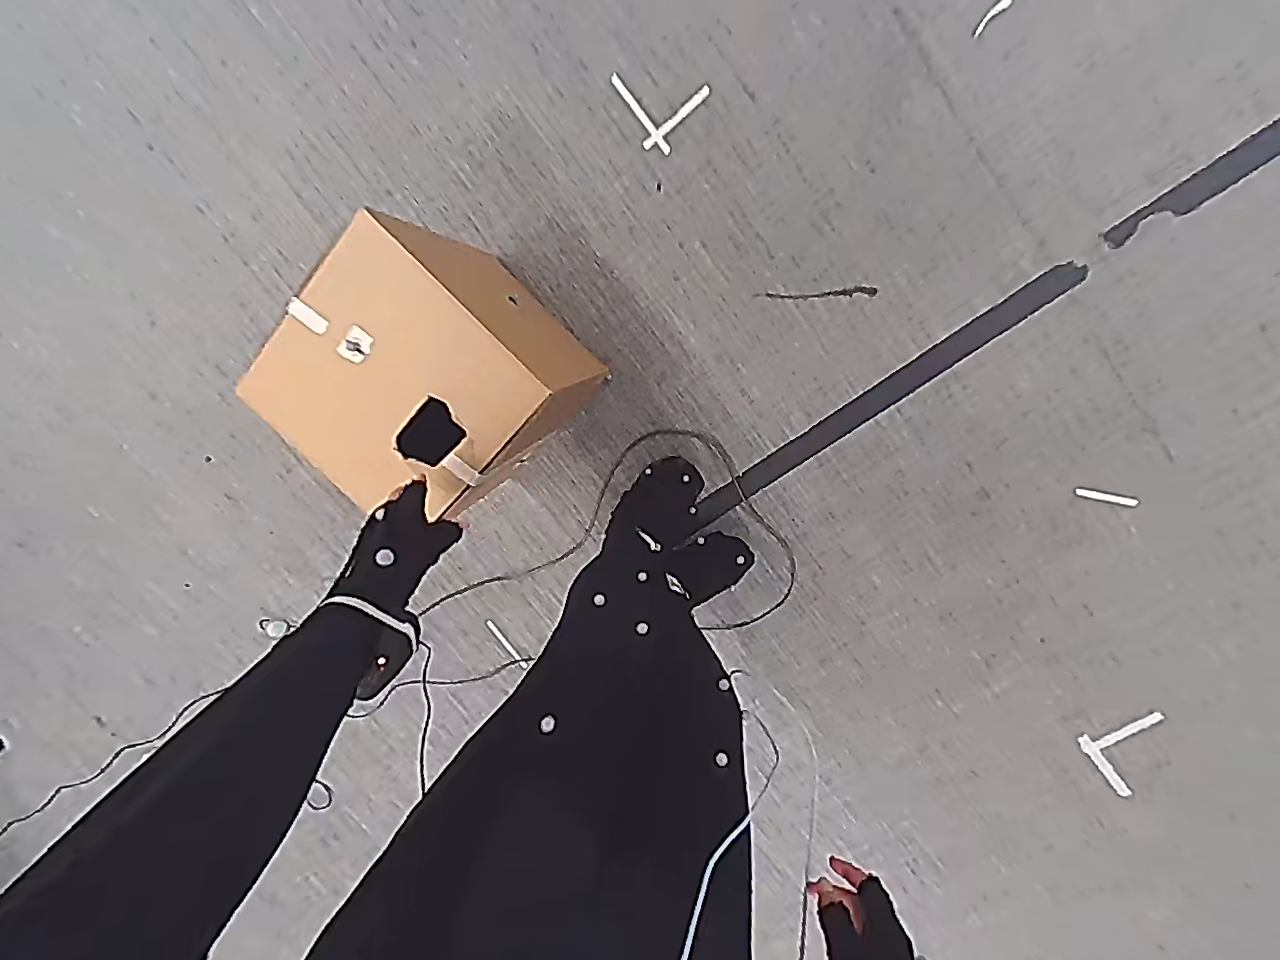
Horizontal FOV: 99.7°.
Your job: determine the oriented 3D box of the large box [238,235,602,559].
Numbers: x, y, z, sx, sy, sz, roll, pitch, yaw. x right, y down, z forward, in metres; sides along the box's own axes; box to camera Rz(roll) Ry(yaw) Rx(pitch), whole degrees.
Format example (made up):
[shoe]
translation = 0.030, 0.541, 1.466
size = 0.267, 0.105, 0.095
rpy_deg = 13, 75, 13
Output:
[large box]
translation = -0.310, -0.146, 0.878
size = 0.320, 0.408, 0.320
rpy_deg = 45, 106, -6
